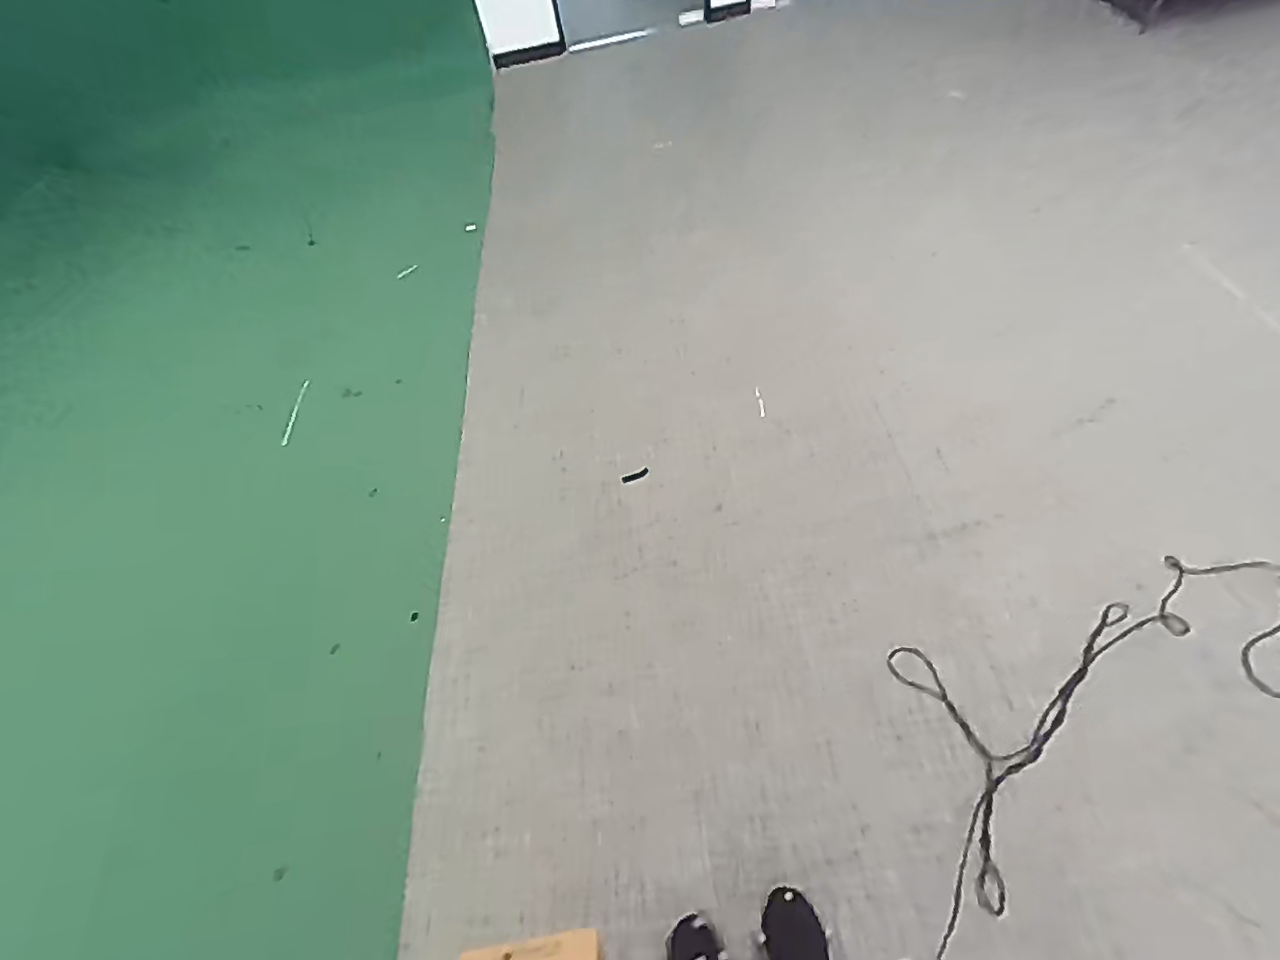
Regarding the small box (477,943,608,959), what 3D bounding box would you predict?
[{"bbox_3d":[-0.105,0.631,0.560,0.168,0.176,0.179,-9,96,-2],"label":"small box"}]
